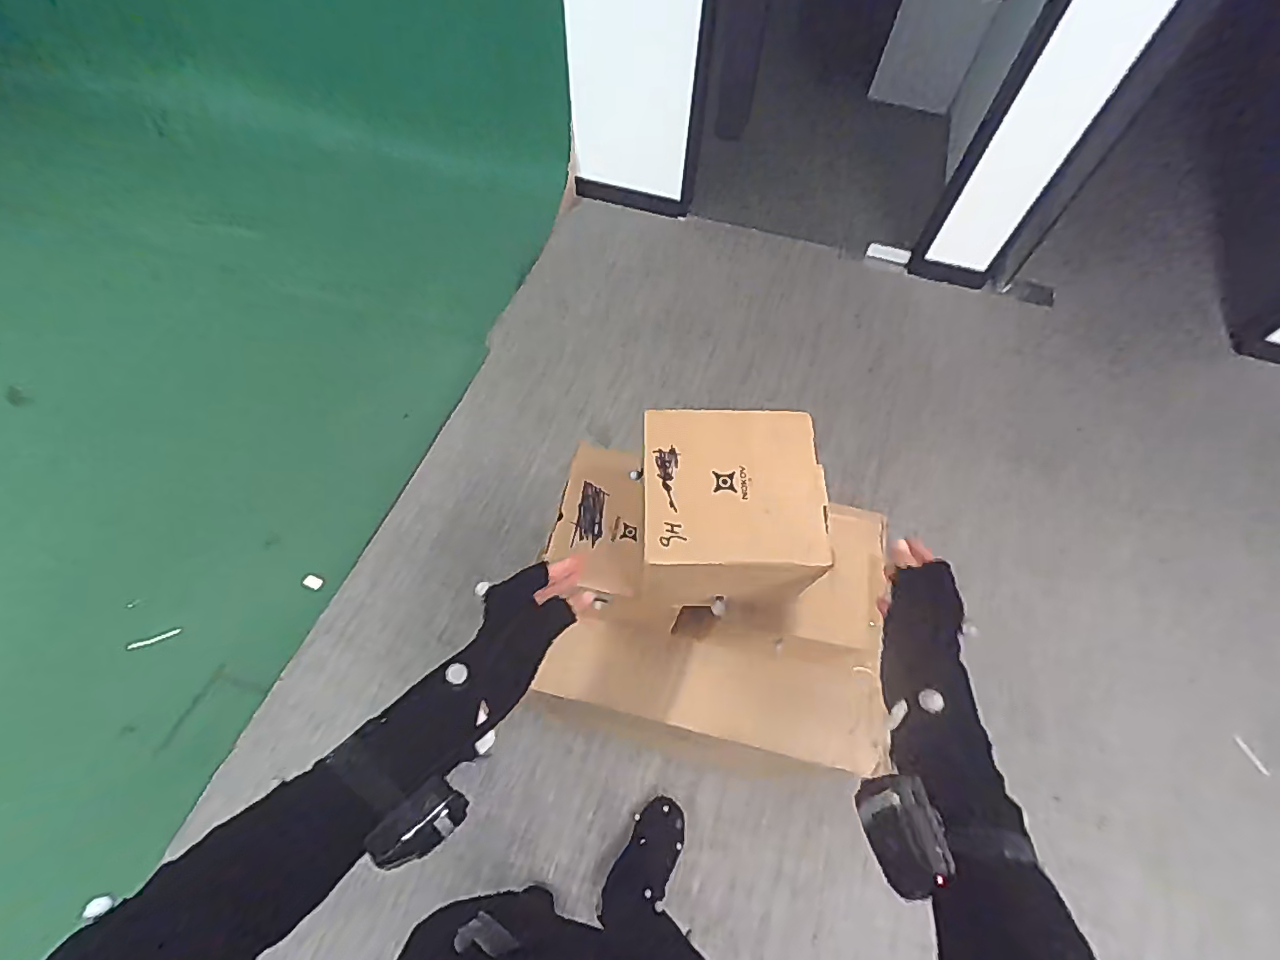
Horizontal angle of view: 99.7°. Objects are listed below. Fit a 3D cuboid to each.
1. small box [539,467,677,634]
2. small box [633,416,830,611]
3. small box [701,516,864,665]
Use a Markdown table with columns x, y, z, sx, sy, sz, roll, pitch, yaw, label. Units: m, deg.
| x | y | z | sx | sy | sz | roll | pitch | yaw | label |
| --- | --- | --- | --- | --- | --- | --- | --- | --- | --- |
| -0.024 | 0.104 | 0.749 | 0.179 | 0.176 | 0.168 | 12 | 64 | 3 | small box |
| 0.085 | 0.045 | 0.601 | 0.179 | 0.176 | 0.168 | 1 | 64 | -3 | small box |
| 0.185 | 0.147 | 0.737 | 0.179 | 0.176 | 0.168 | 11 | 64 | 2 | small box |
